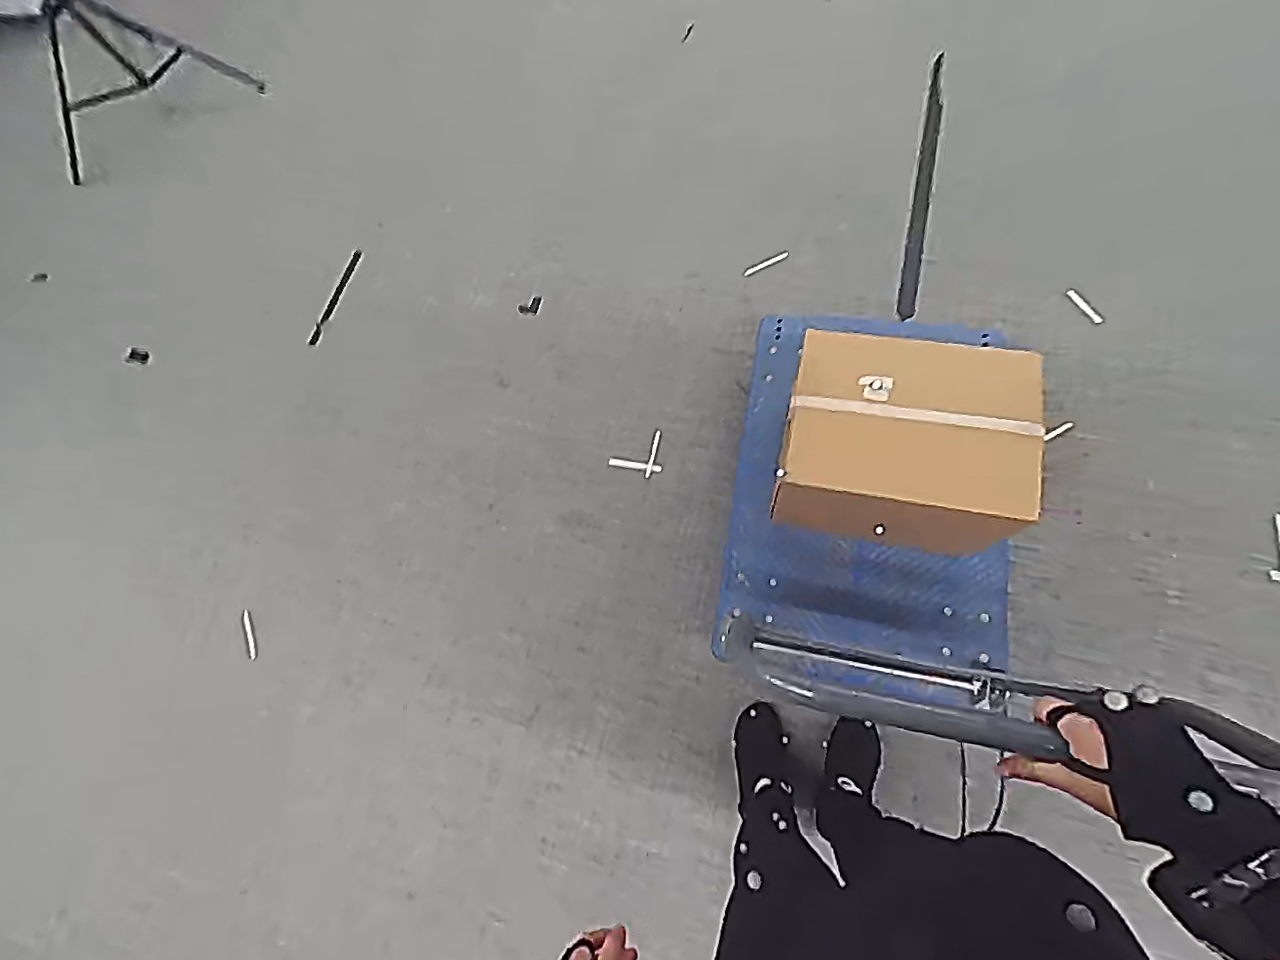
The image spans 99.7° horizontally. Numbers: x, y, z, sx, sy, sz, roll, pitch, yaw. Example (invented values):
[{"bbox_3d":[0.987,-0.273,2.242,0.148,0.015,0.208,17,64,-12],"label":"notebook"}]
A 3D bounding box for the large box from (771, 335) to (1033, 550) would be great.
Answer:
[{"bbox_3d":[0.491,-0.062,1.083,0.408,0.320,0.320,9,72,14],"label":"large box"}]
